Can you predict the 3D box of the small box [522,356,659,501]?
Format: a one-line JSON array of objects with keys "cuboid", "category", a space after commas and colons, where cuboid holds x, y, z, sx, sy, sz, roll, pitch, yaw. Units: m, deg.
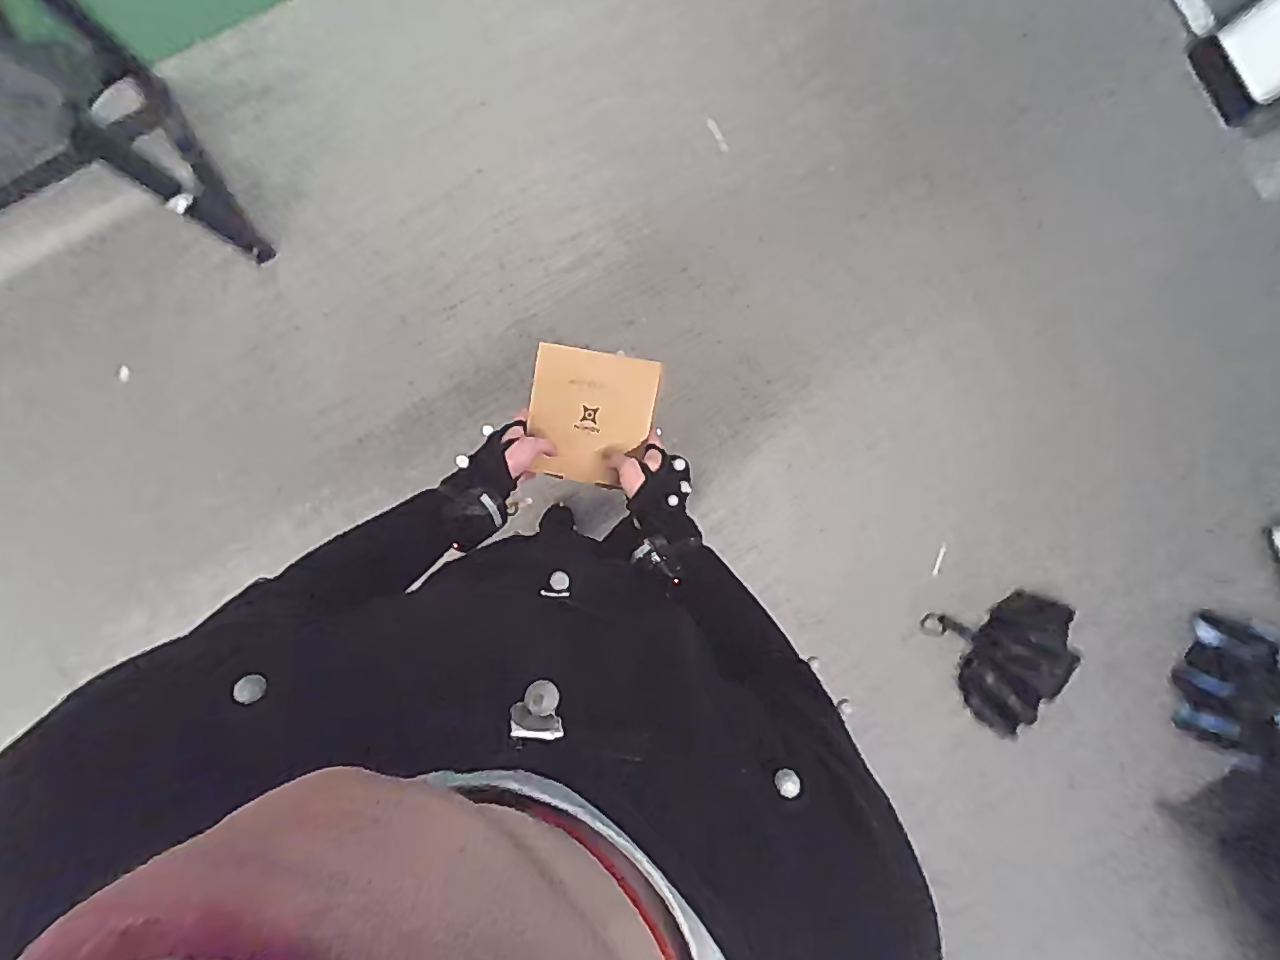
[{"cuboid": [-0.064, -0.079, 0.798, 0.168, 0.176, 0.179, 8, 98, 2], "category": "small box"}]
